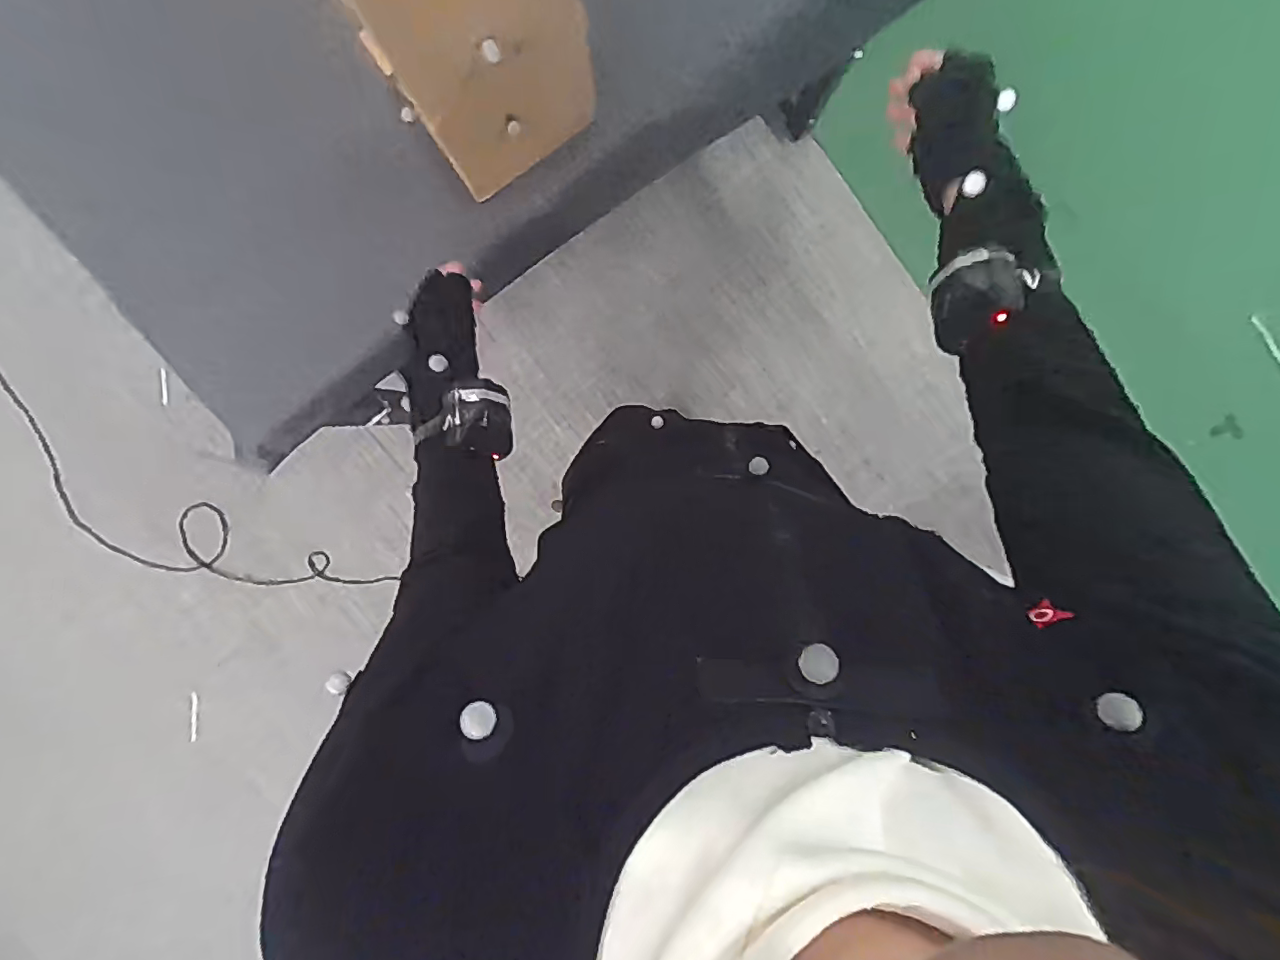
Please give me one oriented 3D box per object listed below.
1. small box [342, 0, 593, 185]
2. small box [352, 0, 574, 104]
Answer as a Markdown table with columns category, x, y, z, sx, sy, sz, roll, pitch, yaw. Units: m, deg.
| category | x | y | z | sx | sy | sz | roll | pitch | yaw |
| --- | --- | --- | --- | --- | --- | --- | --- | --- | --- |
| small box | -0.166 | -0.450 | 0.557 | 0.179 | 0.176 | 0.168 | -35 | 95 | 4 |
| small box | -0.168 | -0.436 | 0.393 | 0.168 | 0.176 | 0.179 | -35 | 93 | 3 |
